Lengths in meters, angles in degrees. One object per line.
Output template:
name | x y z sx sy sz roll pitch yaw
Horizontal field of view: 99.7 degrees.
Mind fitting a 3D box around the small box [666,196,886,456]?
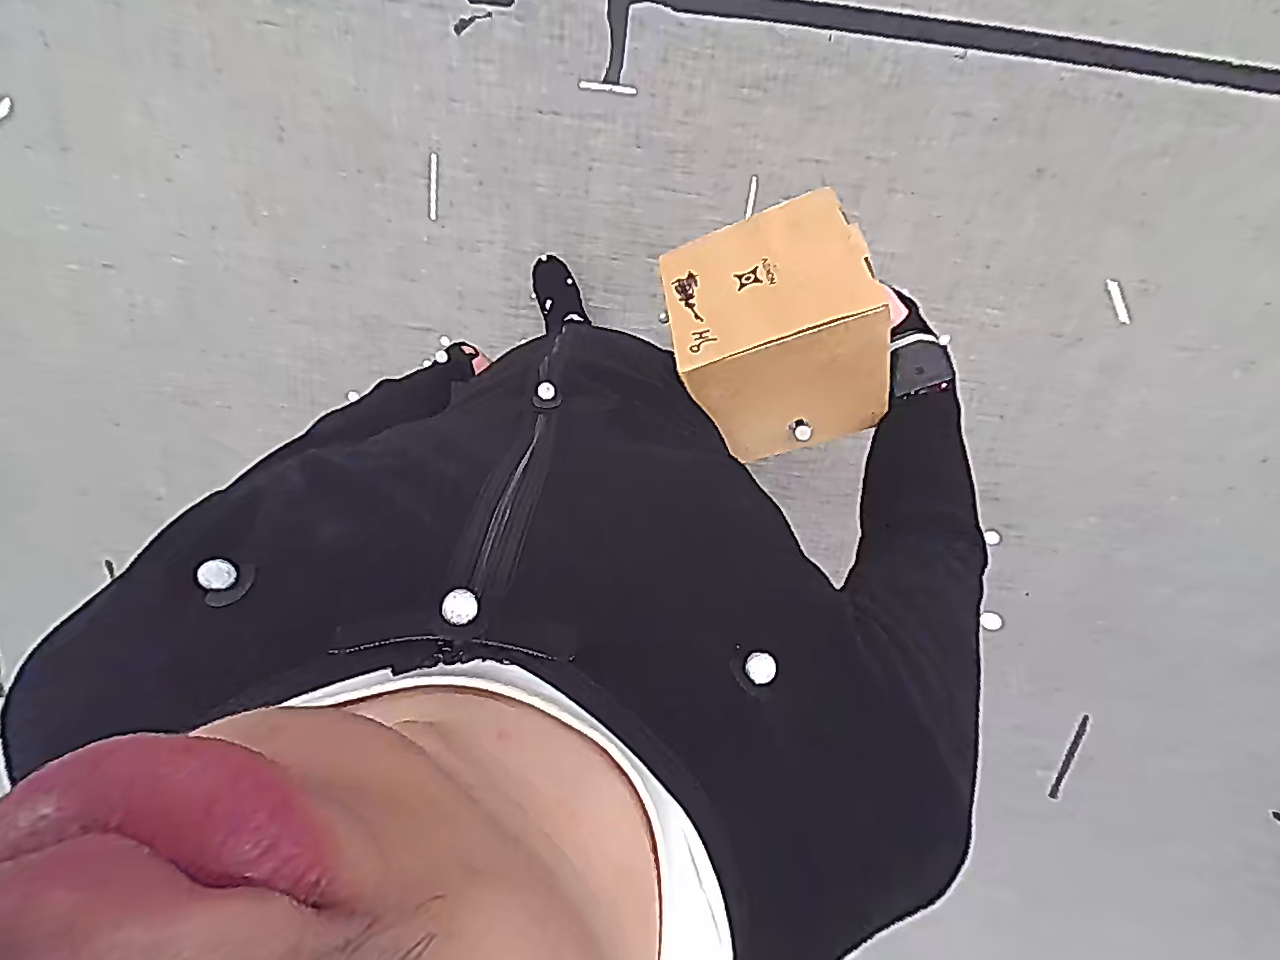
small box | 0.141 -0.149 0.568 0.179 0.168 0.176 -15 146 15
